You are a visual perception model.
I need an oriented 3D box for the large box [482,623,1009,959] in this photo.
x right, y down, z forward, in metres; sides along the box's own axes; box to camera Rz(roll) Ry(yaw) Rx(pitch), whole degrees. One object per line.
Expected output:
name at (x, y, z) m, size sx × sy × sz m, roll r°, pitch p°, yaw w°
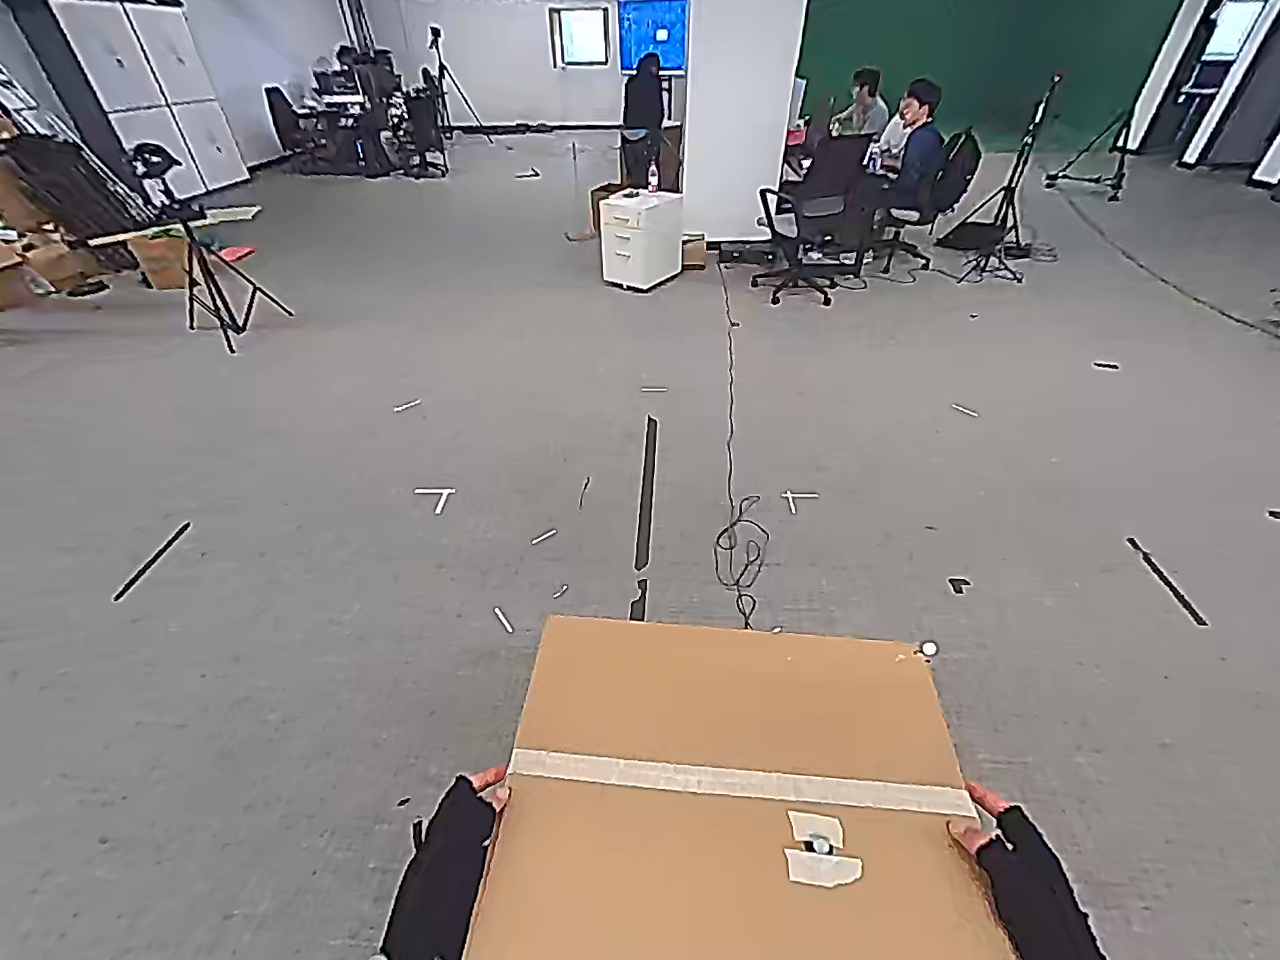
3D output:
large box at (0.087, 0.385, 0.596) m, size 0.408 × 0.320 × 0.320 m, roll 3°, pitch 44°, yaw 4°
